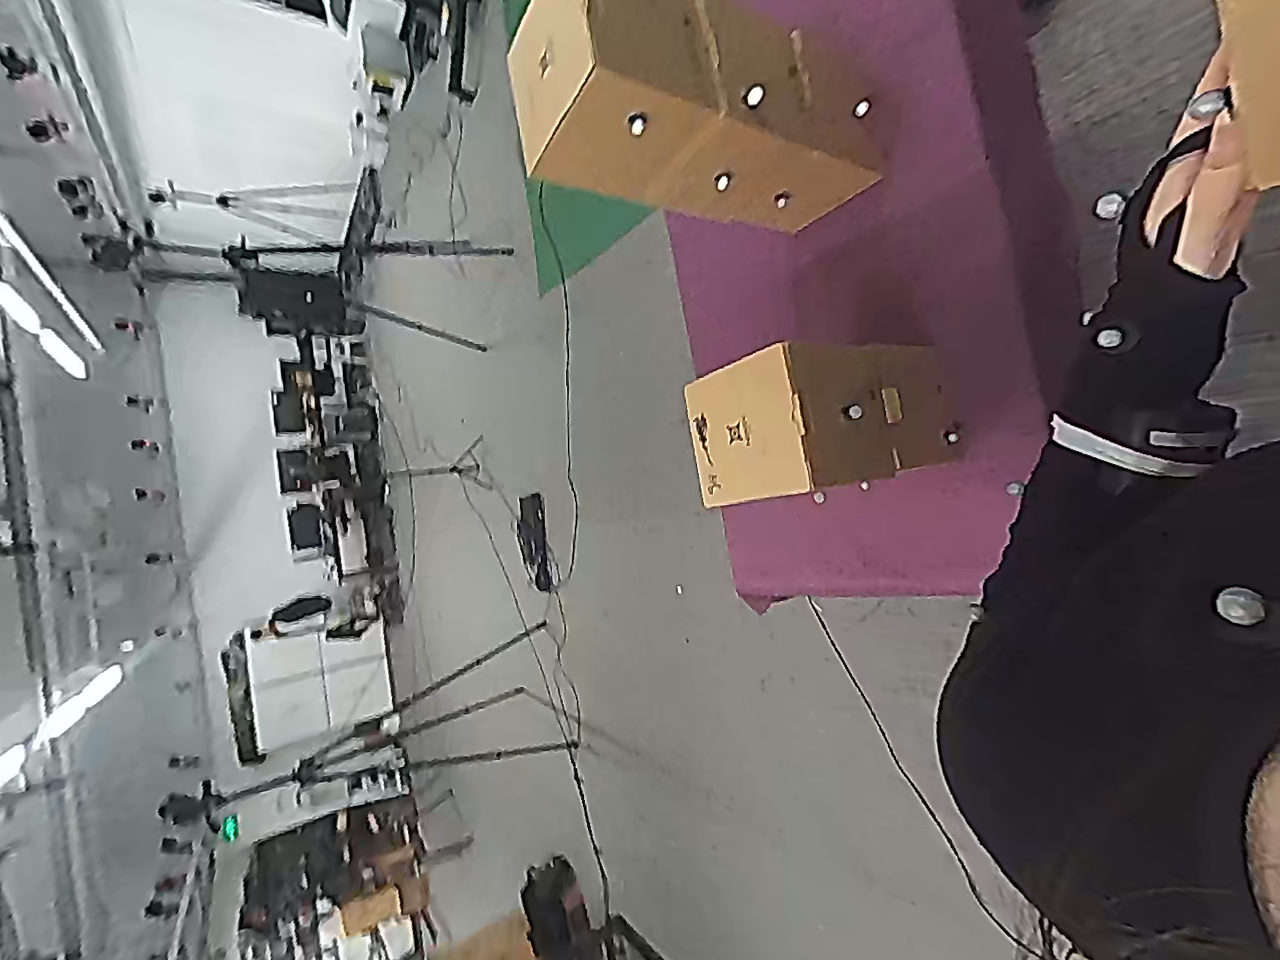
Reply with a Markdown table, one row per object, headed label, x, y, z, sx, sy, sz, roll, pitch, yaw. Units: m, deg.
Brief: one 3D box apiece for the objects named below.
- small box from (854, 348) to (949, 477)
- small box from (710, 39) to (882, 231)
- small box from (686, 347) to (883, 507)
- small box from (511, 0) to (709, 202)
| label | x | y | z | sx | sy | sz | roll | pitch | yaw |
| --- | --- | --- | --- | --- | --- | --- | --- | --- | --- |
| small box | 0.323 | -0.085 | 0.791 | 0.179 | 0.176 | 0.168 | -18 | 81 | 56 |
| small box | 0.237 | -0.508 | 0.831 | 0.179 | 0.176 | 0.168 | -12 | 87 | 55 |
| small box | 0.189 | -0.064 | 0.697 | 0.179 | 0.176 | 0.168 | -14 | 84 | 54 |
| small box | -0.034 | -0.470 | 0.651 | 0.179 | 0.176 | 0.168 | -17 | 82 | 56 |
